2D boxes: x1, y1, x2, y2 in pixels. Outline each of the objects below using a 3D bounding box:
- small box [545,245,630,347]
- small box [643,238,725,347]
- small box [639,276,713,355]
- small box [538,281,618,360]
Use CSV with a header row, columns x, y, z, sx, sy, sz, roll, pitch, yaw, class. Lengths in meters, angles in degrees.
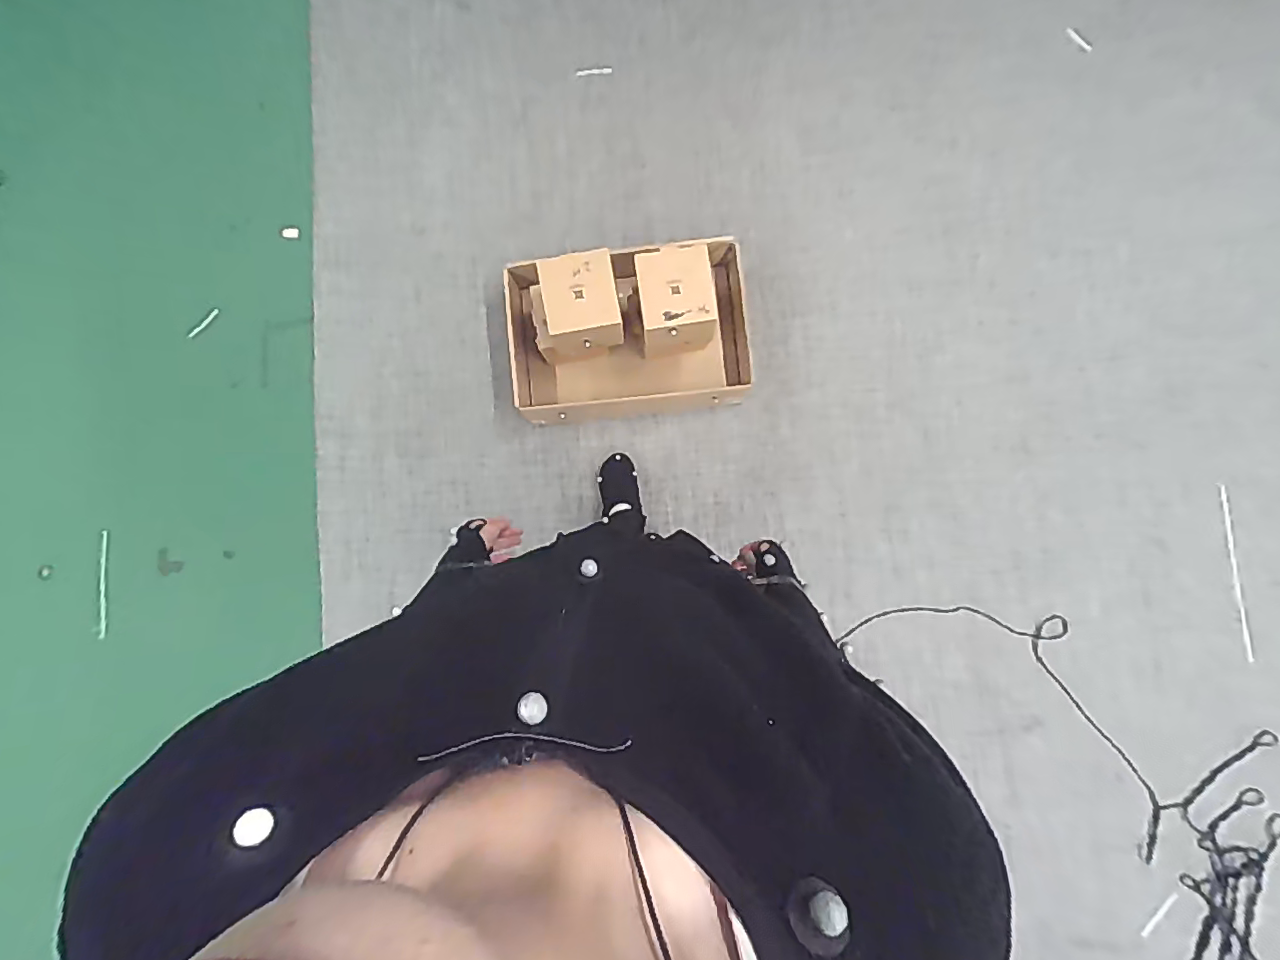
x,y,z,sx,sy,sz,roll,pitch,yaw,class
-0.117,-0.423,1.278,0.168,0.176,0.179,-10,88,0,small box
0.102,-0.430,1.263,0.168,0.176,0.179,-8,86,5,small box
0.102,-0.444,1.428,0.179,0.176,0.168,-12,87,3,small box
-0.160,-0.428,1.443,0.179,0.176,0.168,-8,88,1,small box
